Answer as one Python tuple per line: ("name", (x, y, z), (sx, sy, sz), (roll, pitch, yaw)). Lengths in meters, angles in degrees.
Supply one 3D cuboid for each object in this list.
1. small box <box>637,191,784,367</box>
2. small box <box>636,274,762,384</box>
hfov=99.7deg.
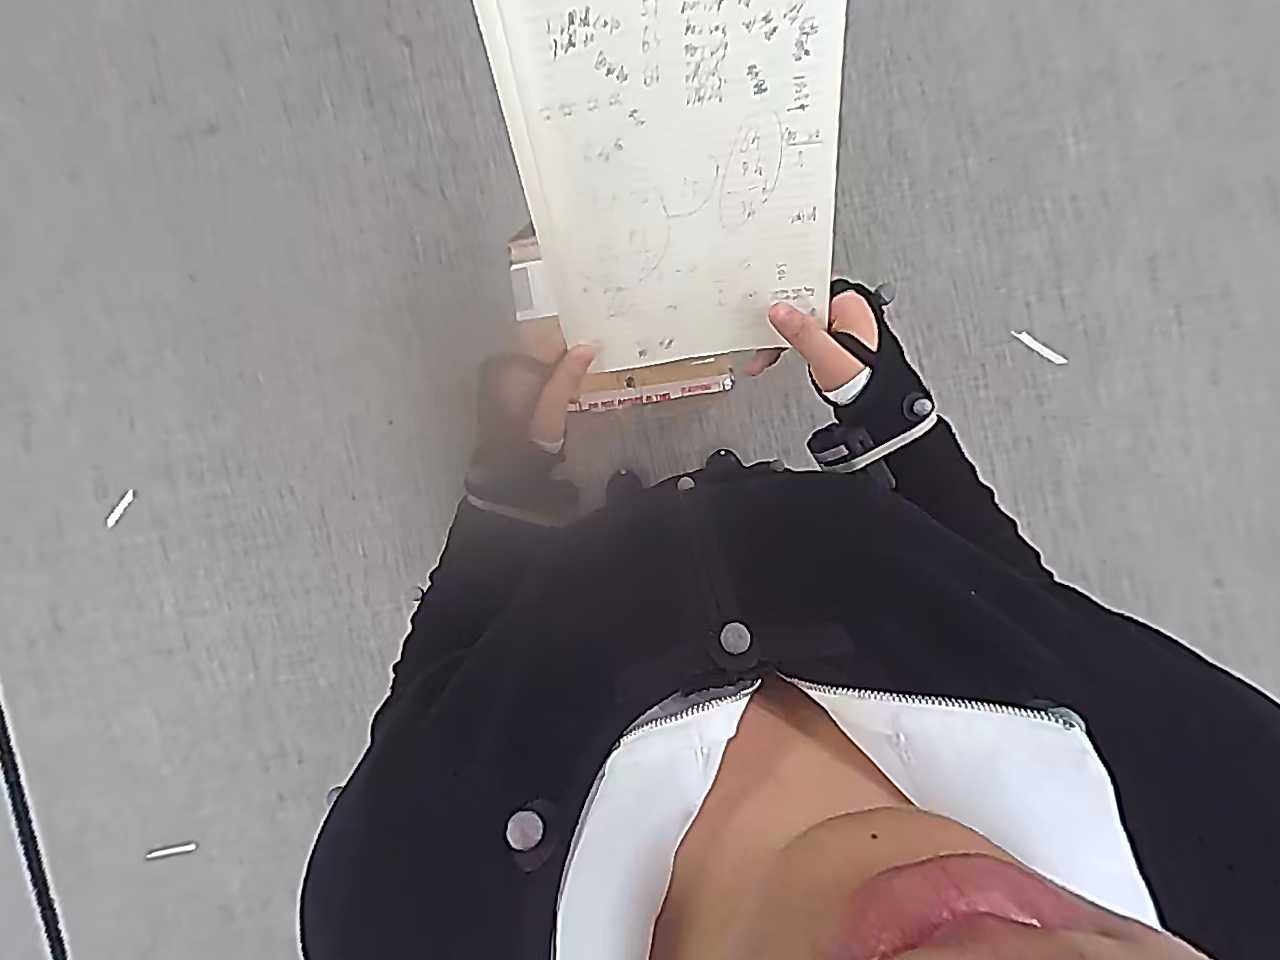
("small box", (0.090, -0.275, 0.777), (0.168, 0.176, 0.179), (-12, 92, 0))
("small box", (0.094, -0.274, 0.942), (0.179, 0.176, 0.168), (-14, 92, 1))
